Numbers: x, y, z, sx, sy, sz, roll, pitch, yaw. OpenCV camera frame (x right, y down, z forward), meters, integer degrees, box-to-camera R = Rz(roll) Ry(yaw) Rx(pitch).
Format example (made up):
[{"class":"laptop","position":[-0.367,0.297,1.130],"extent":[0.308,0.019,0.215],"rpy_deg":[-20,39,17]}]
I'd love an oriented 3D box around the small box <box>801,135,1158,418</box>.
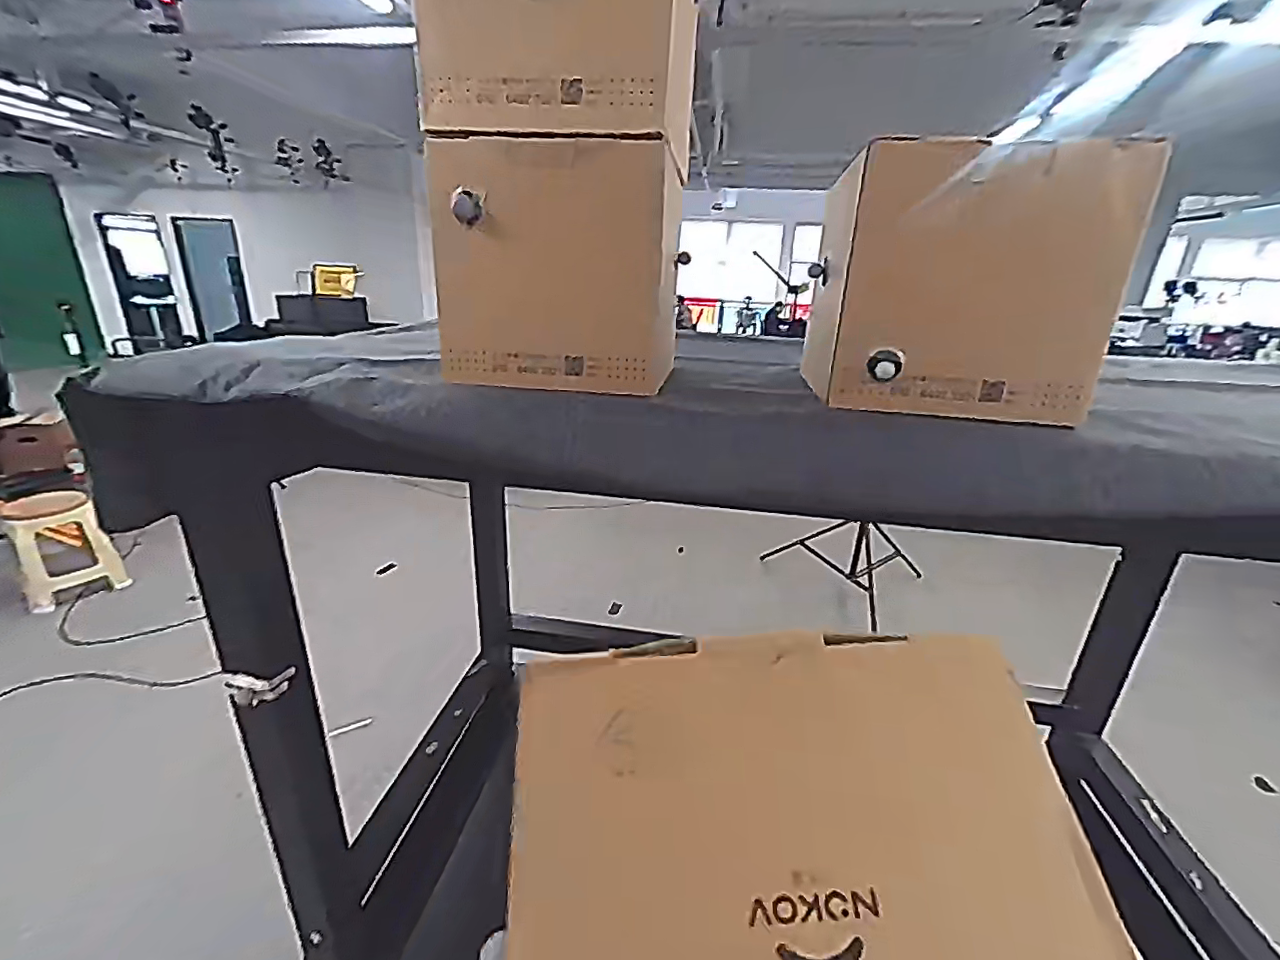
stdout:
[{"class":"small box","position":[0.227,-0.148,0.421],"extent":[0.168,0.176,0.179],"rpy_deg":[6,18,8]}]

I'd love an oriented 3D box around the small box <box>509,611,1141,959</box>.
[{"class":"small box","position":[0.046,0.166,0.209],"extent":[0.168,0.176,0.179],"rpy_deg":[-4,58,-3]}]

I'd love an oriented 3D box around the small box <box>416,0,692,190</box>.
[{"class":"small box","position":[-0.050,-0.326,0.402],"extent":[0.168,0.176,0.179],"rpy_deg":[5,19,7]}]
